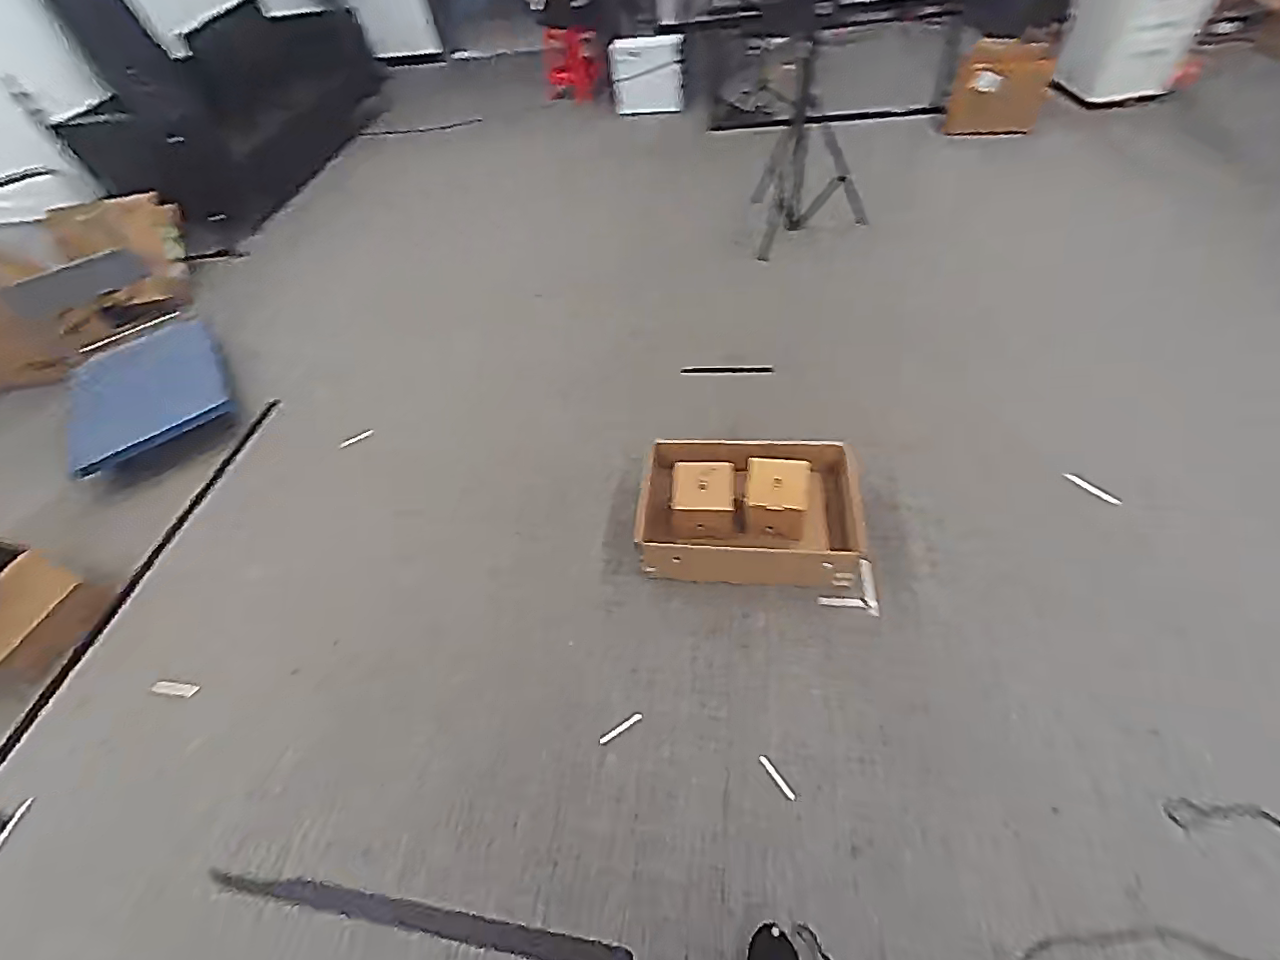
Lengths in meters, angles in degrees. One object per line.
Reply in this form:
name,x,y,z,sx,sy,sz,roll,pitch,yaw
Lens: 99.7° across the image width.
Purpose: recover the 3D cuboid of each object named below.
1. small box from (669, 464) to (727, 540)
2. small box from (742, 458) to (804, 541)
small box,0.180,0.069,1.646,0.168,0.176,0.179,1,52,7
small box,0.397,0.059,1.625,0.168,0.176,0.179,5,53,13
